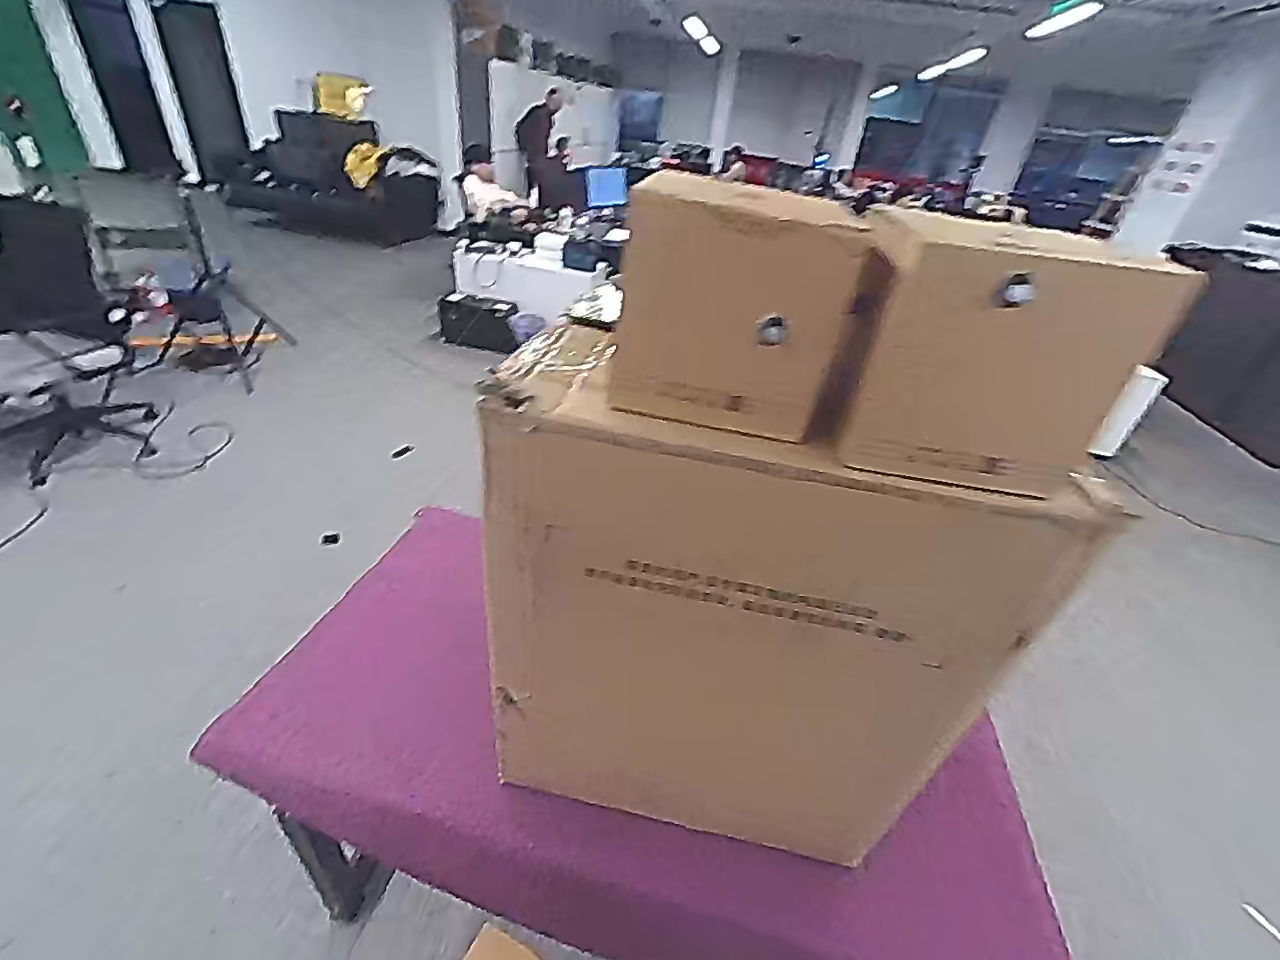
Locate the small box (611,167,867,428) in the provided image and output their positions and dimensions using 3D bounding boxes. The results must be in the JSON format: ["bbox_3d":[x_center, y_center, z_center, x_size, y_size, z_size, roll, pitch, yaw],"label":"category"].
[{"bbox_3d":[0.074,-0.163,0.475,0.168,0.176,0.179,12,32,2],"label":"small box"}]

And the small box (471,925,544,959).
[{"bbox_3d":[-0.144,0.599,0.509,0.168,0.176,0.179,29,10,5],"label":"small box"}]

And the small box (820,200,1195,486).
[{"bbox_3d":[0.258,-0.119,0.442,0.168,0.176,0.179,9,33,4],"label":"small box"}]
